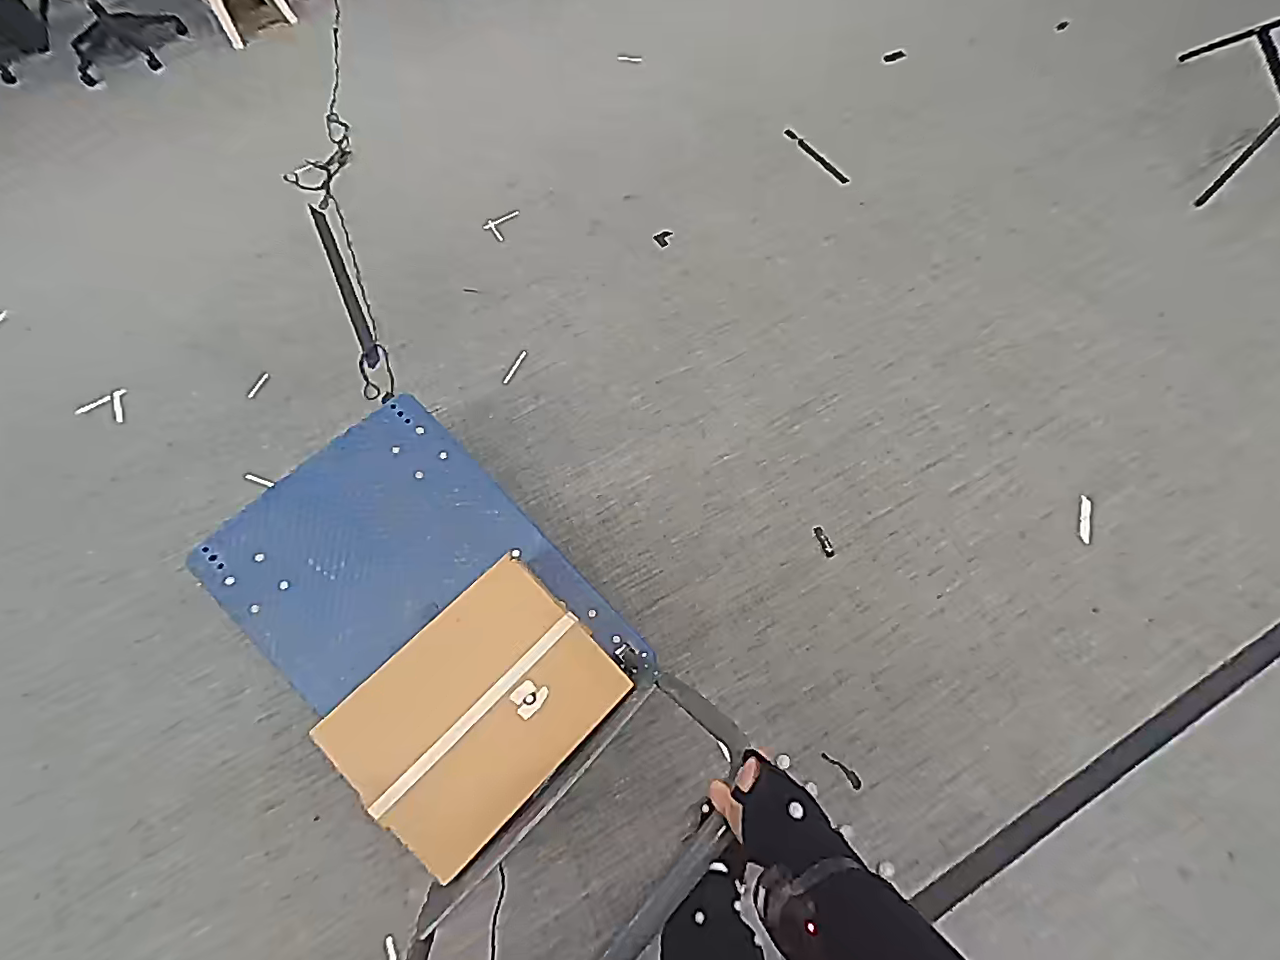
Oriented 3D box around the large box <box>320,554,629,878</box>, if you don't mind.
[{"bbox_3d":[-0.281,0.403,1.021,0.320,0.320,0.408,46,74,3],"label":"large box"}]
